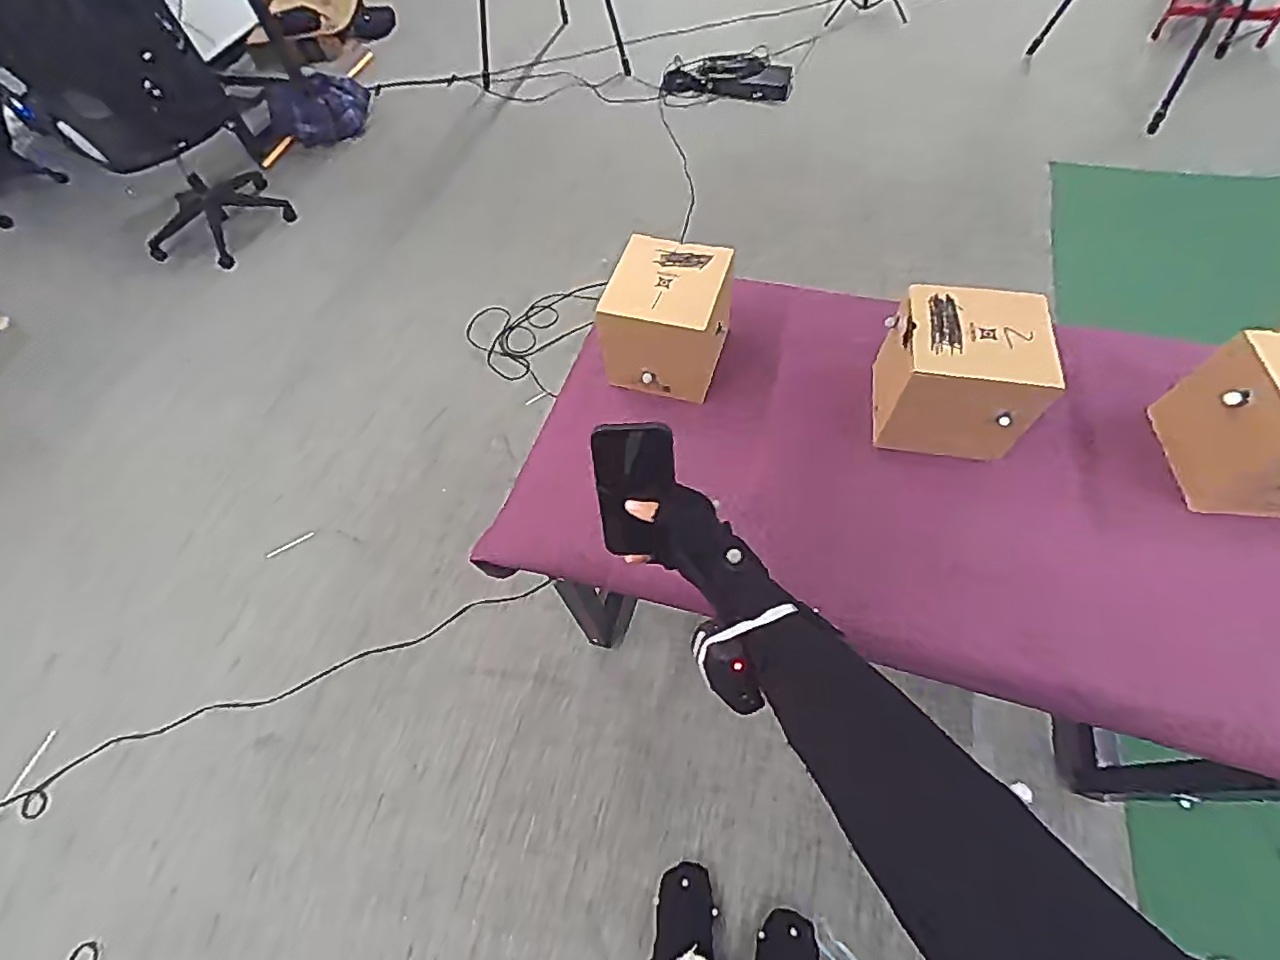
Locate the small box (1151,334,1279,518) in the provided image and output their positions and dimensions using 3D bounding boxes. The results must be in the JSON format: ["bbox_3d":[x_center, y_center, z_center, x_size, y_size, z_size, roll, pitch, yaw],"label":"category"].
[{"bbox_3d":[0.816,-0.060,0.683,0.168,0.176,0.179,4,59,8],"label":"small box"}]

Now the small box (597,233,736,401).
[{"bbox_3d":[0.046,-0.256,0.860,0.168,0.176,0.179,15,64,13],"label":"small box"}]
